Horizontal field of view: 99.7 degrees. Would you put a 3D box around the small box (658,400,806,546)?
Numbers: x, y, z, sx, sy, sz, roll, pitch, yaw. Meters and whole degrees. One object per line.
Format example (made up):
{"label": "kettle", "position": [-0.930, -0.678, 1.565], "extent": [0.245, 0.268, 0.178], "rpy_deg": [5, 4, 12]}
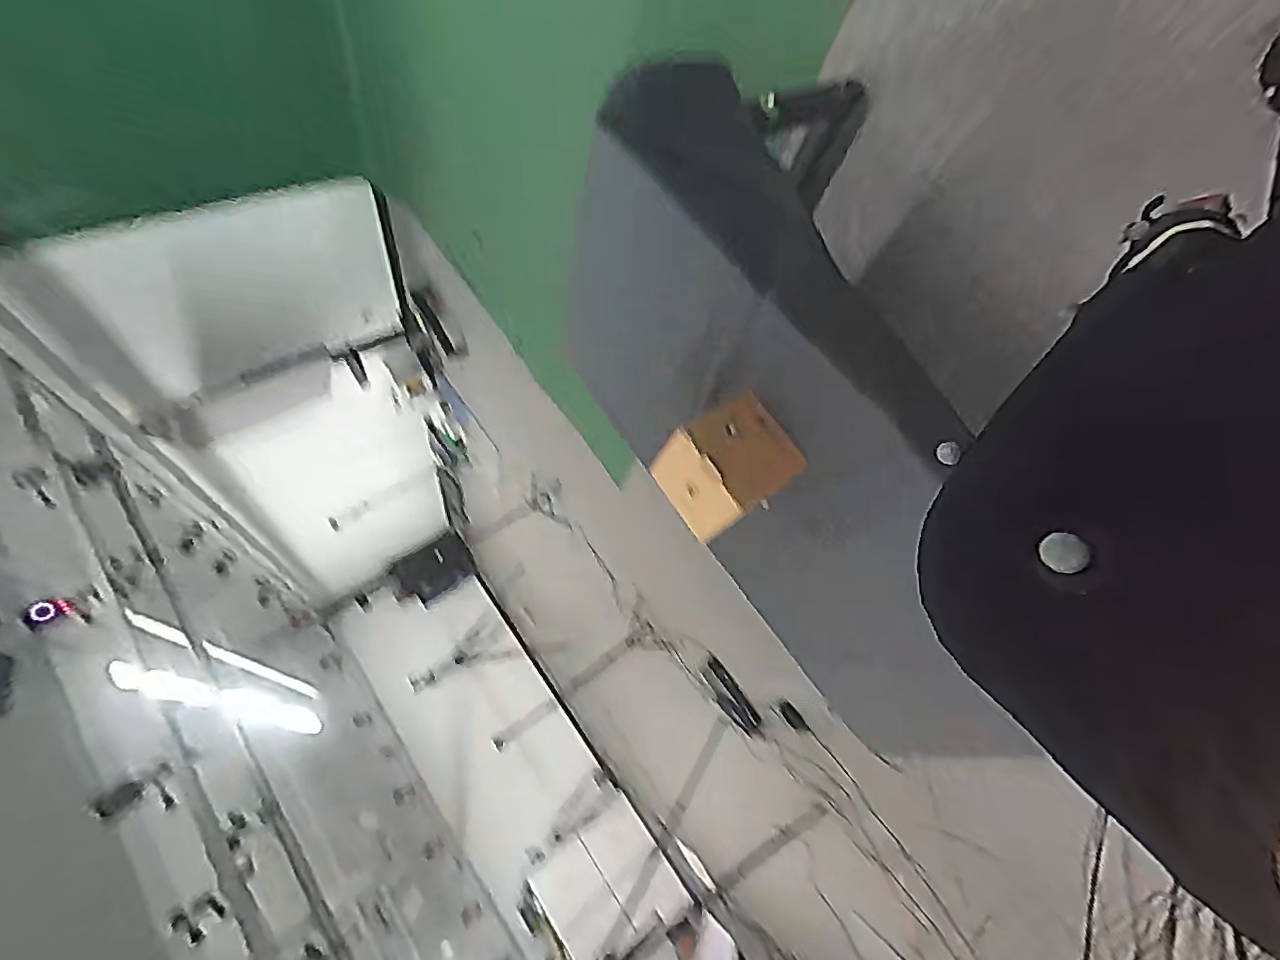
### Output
{"label": "small box", "position": [0.163, -0.014, 0.956], "extent": [0.168, 0.176, 0.179], "rpy_deg": [55, 155, 12]}
